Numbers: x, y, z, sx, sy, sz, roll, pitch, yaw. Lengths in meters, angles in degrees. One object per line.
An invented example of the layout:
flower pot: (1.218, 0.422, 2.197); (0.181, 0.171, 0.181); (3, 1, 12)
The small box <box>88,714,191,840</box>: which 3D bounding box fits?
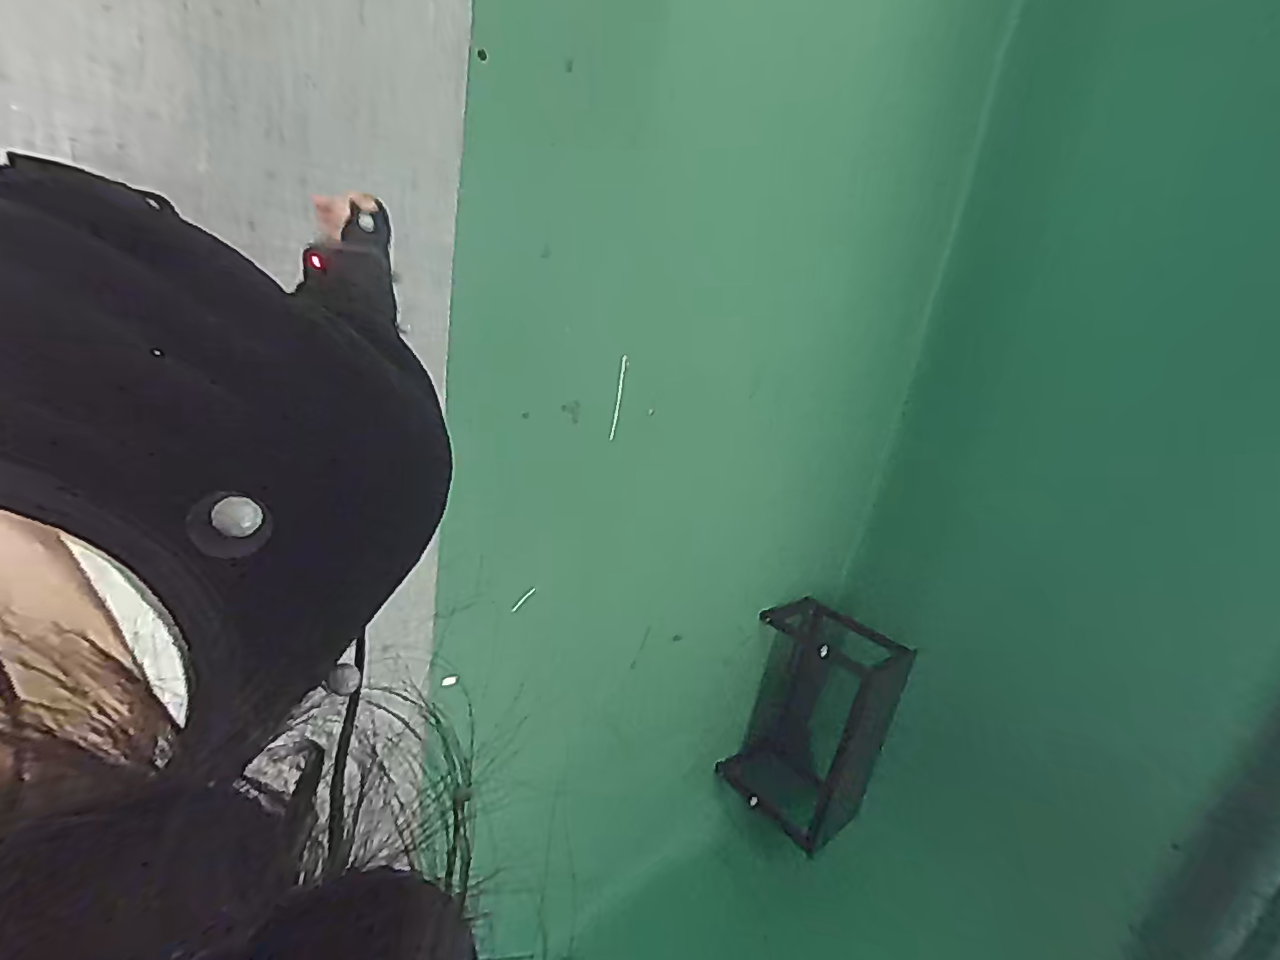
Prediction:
small box: (-1.172, 0.678, 1.266); (0.168, 0.176, 0.179); (2, 107, -44)
